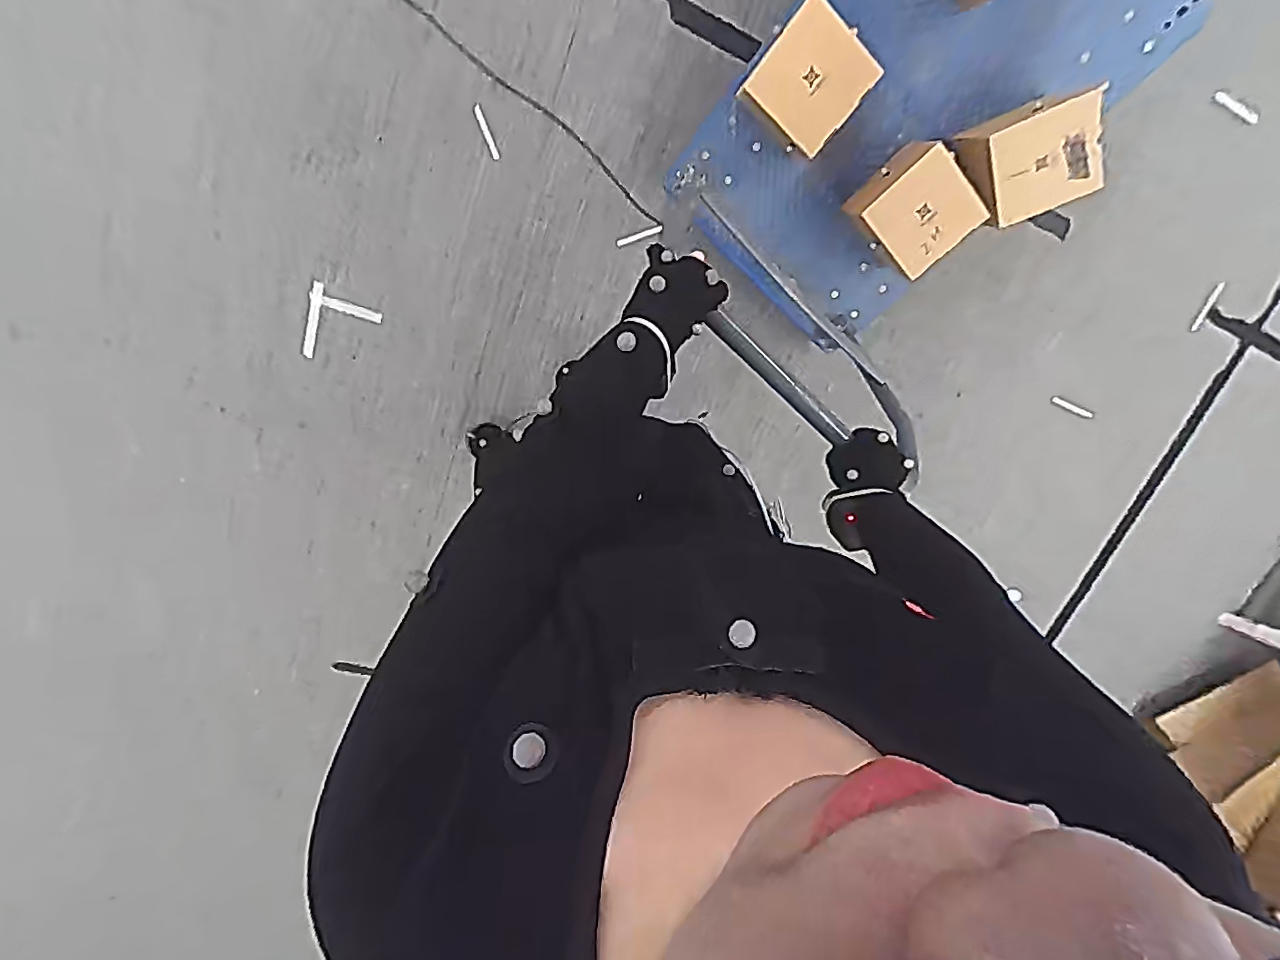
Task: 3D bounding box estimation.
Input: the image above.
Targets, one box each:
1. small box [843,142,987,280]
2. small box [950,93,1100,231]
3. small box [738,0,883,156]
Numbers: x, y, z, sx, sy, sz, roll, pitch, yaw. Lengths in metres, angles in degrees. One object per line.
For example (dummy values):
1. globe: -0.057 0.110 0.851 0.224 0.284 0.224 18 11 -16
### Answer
1. small box: 0.534 -0.534 1.078 0.179 0.176 0.168 42 116 -18
2. small box: 0.722 -0.598 1.025 0.179 0.176 0.168 -18 117 16
3. small box: 0.298 -0.723 0.987 0.179 0.176 0.168 36 117 -17
